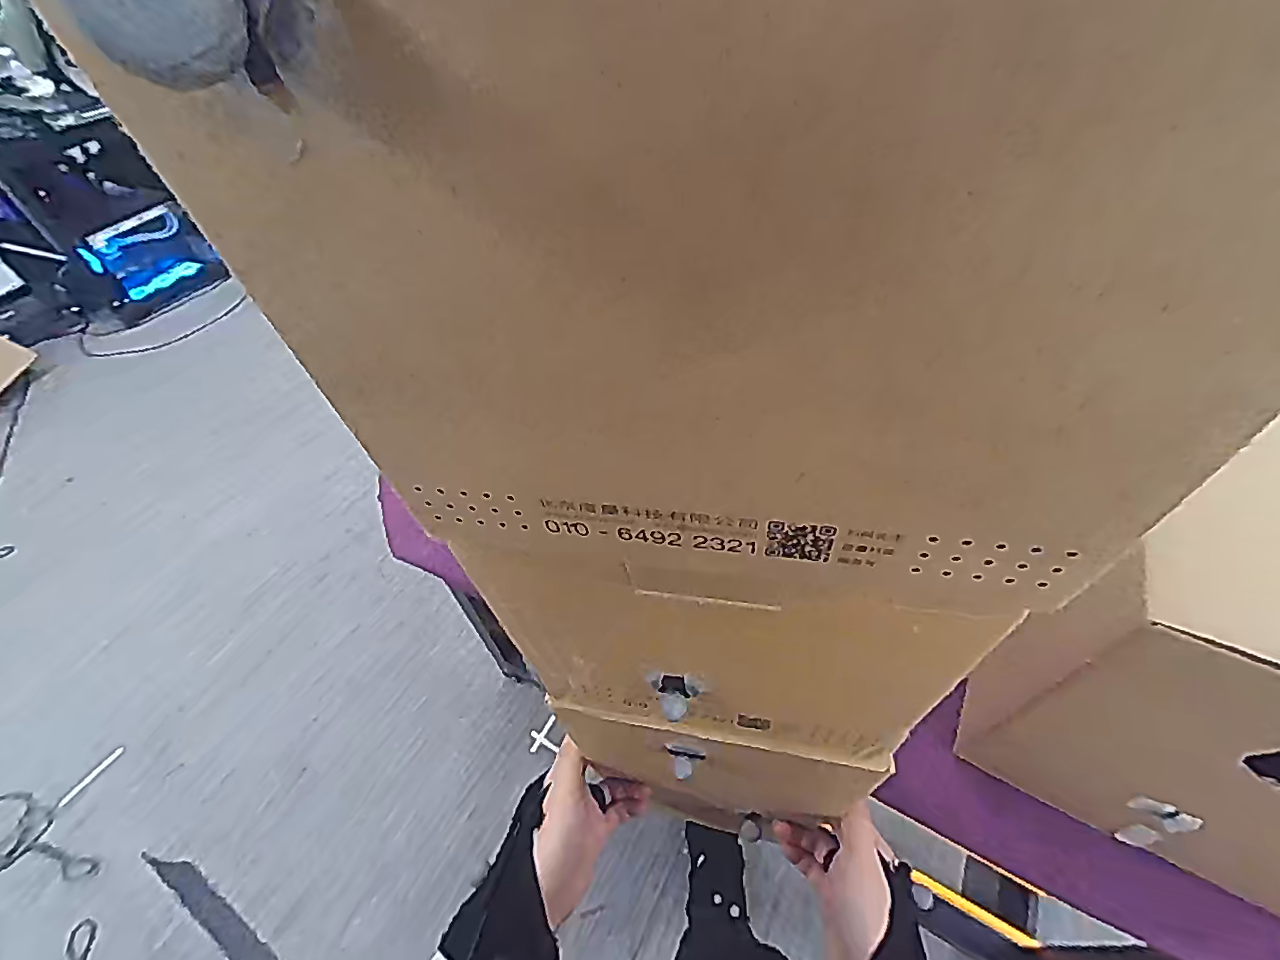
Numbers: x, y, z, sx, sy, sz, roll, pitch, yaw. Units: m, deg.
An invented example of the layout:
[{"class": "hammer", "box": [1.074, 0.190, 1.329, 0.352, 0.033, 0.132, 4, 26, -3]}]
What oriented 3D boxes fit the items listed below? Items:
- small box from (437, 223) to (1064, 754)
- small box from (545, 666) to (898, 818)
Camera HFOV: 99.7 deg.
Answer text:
[{"class": "small box", "box": [0.042, 0.003, 0.252, 0.168, 0.176, 0.179, 5, 52, 11]}, {"class": "small box", "box": [0.058, 0.114, 0.371, 0.179, 0.176, 0.168, 6, 52, 12]}]
